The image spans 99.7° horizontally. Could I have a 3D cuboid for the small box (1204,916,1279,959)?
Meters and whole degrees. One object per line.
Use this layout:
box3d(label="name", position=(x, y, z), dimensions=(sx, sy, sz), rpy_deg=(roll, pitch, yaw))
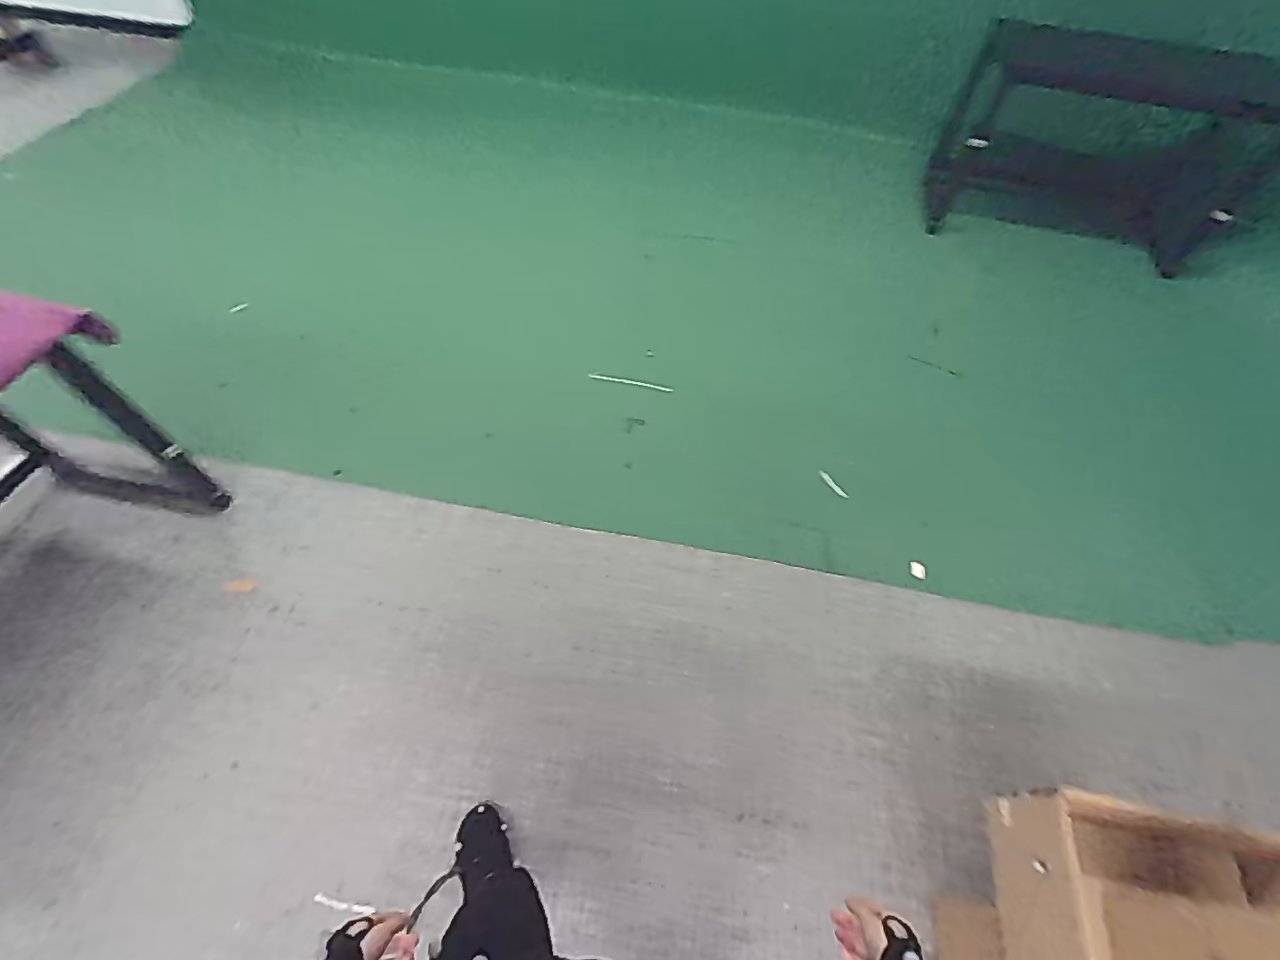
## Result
box3d(label="small box", position=(0.830, 0.624, 0.617), dimensions=(0.179, 0.176, 0.168), rpy_deg=(12, 55, 5))
